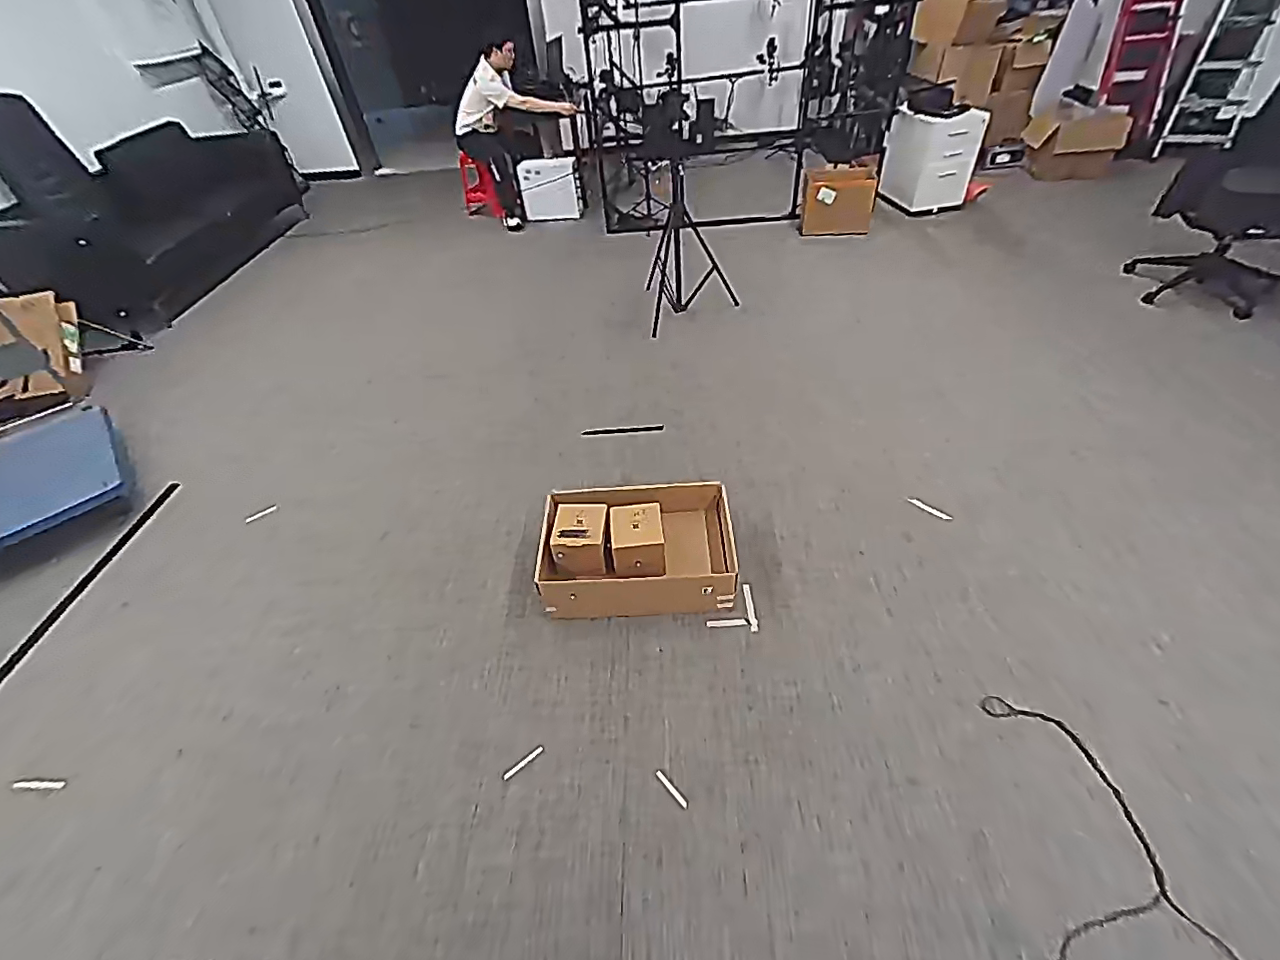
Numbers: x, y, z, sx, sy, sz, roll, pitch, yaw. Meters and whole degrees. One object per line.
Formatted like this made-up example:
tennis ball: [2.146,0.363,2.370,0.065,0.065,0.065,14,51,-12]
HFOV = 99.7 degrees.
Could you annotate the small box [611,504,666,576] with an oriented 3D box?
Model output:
small box: [-0.005,0.204,1.785,0.168,0.176,0.179,-6,44,0]
